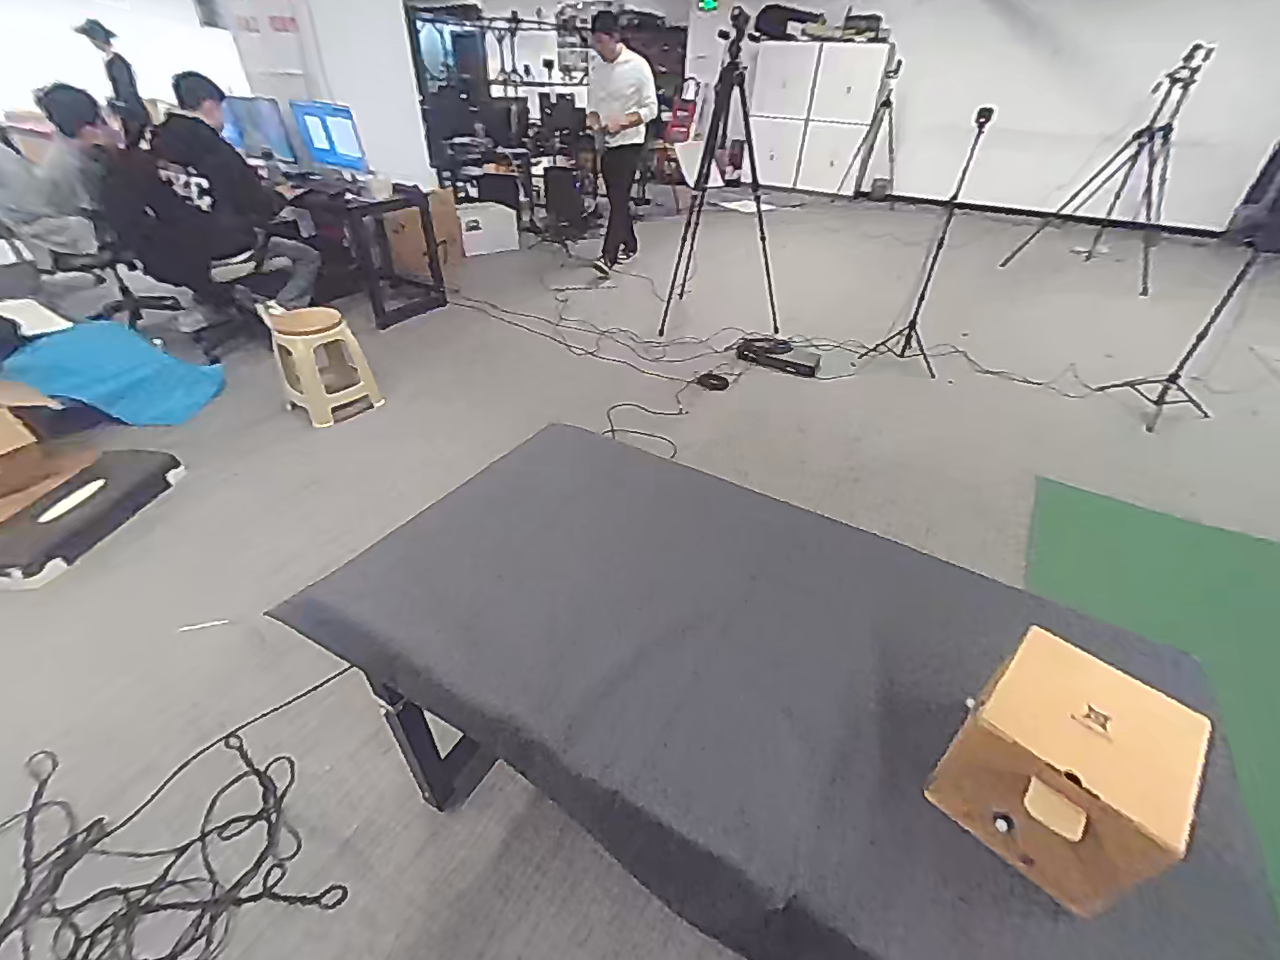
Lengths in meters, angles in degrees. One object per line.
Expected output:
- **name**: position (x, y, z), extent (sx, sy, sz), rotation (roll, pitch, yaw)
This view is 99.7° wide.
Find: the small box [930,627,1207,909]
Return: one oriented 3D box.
- **small box**: position (0.450, 0.305, 0.588), extent (0.179, 0.176, 0.168), rotation (-29, 47, -34)
